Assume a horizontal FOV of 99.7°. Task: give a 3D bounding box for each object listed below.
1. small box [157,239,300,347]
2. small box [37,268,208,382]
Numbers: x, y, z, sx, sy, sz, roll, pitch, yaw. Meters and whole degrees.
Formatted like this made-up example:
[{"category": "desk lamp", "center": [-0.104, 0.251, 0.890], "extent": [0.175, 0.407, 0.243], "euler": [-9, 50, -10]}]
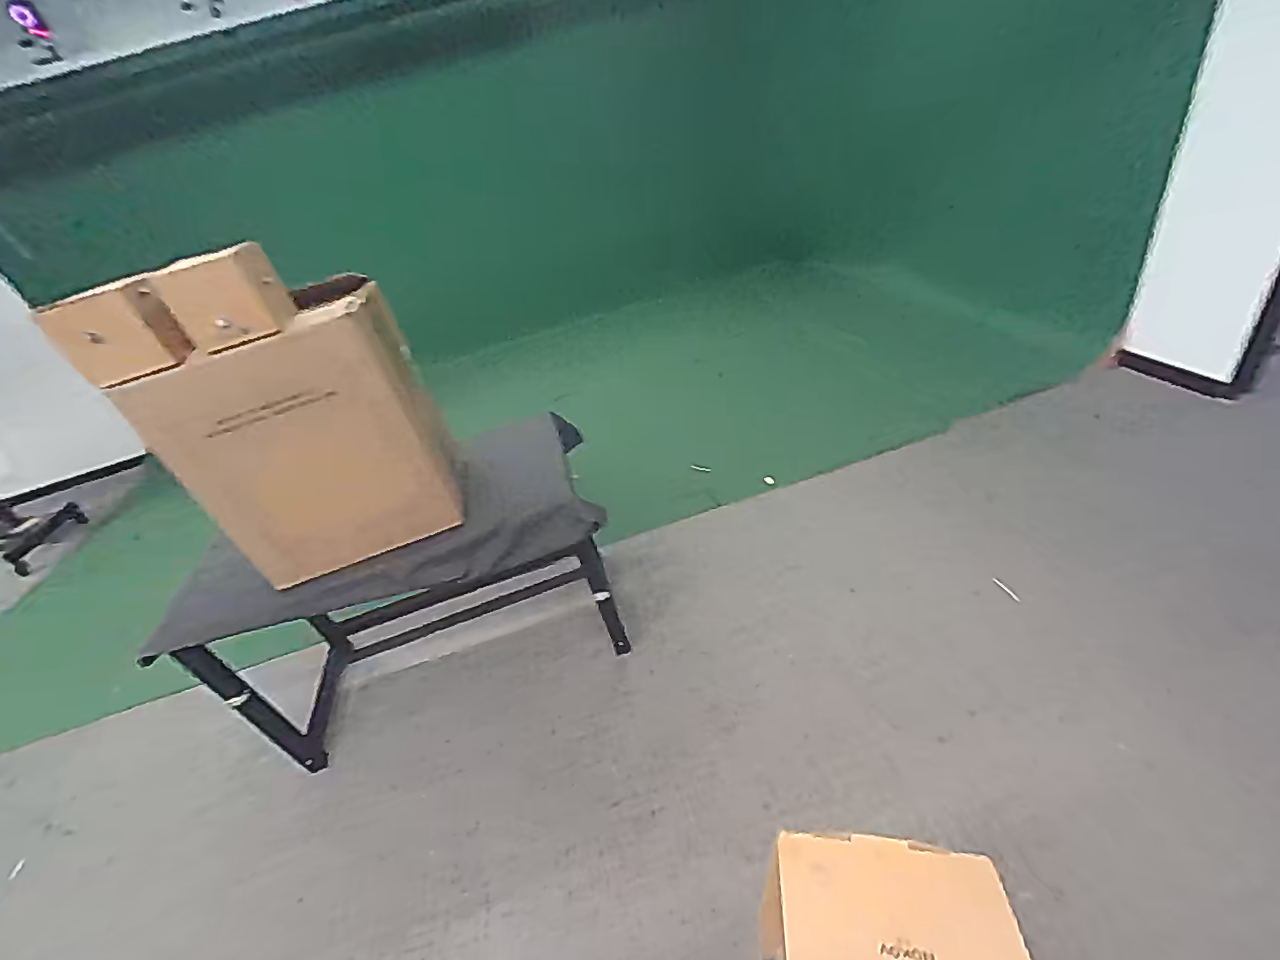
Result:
[{"category": "small box", "center": [-0.888, -0.412, 1.192], "extent": [0.168, 0.176, 0.179], "euler": [-19, 36, -6]}, {"category": "small box", "center": [-1.092, -0.332, 1.164], "extent": [0.179, 0.176, 0.168], "euler": [-20, 36, -5]}]
